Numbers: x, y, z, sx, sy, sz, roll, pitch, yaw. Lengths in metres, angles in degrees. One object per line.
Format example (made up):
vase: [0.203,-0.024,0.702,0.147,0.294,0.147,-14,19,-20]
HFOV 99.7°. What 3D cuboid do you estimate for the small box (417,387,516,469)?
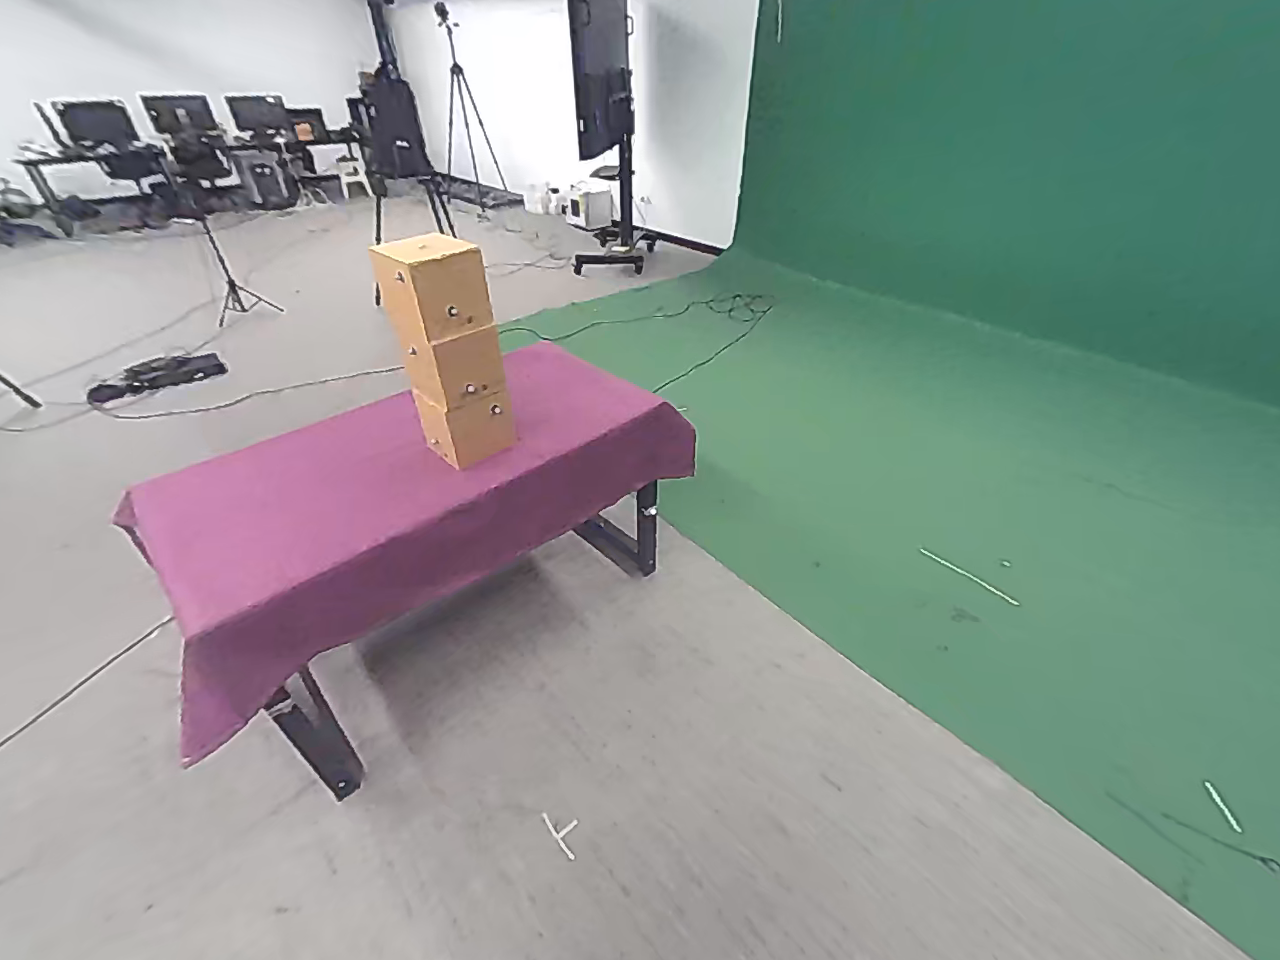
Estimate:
small box: [-0.433,-0.157,1.375,0.179,0.176,0.168,-31,46,-33]

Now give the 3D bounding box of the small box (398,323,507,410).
small box: [-0.437,-0.287,1.276,0.179,0.176,0.168,32,49,34]

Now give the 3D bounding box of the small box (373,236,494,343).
small box: [-0.445,-0.417,1.179,0.179,0.176,0.168,30,48,32]
